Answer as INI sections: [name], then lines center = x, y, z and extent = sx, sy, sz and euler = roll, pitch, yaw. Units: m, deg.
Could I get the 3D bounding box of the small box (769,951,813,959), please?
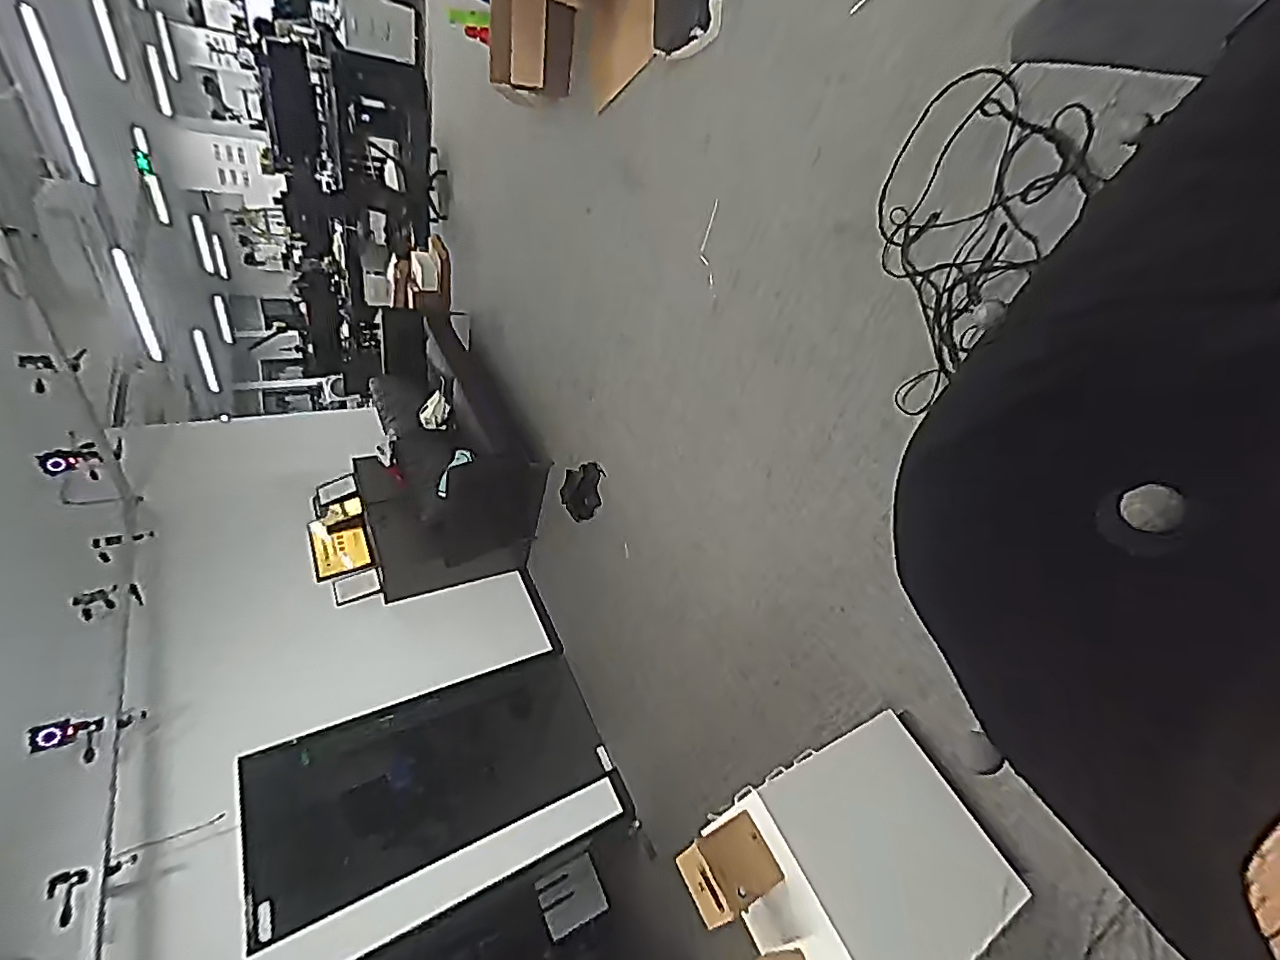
[small box]
center = 0.340, 1.250, 1.268
extent = 0.168, 0.176, 0.179
euler = 60, 143, 32
